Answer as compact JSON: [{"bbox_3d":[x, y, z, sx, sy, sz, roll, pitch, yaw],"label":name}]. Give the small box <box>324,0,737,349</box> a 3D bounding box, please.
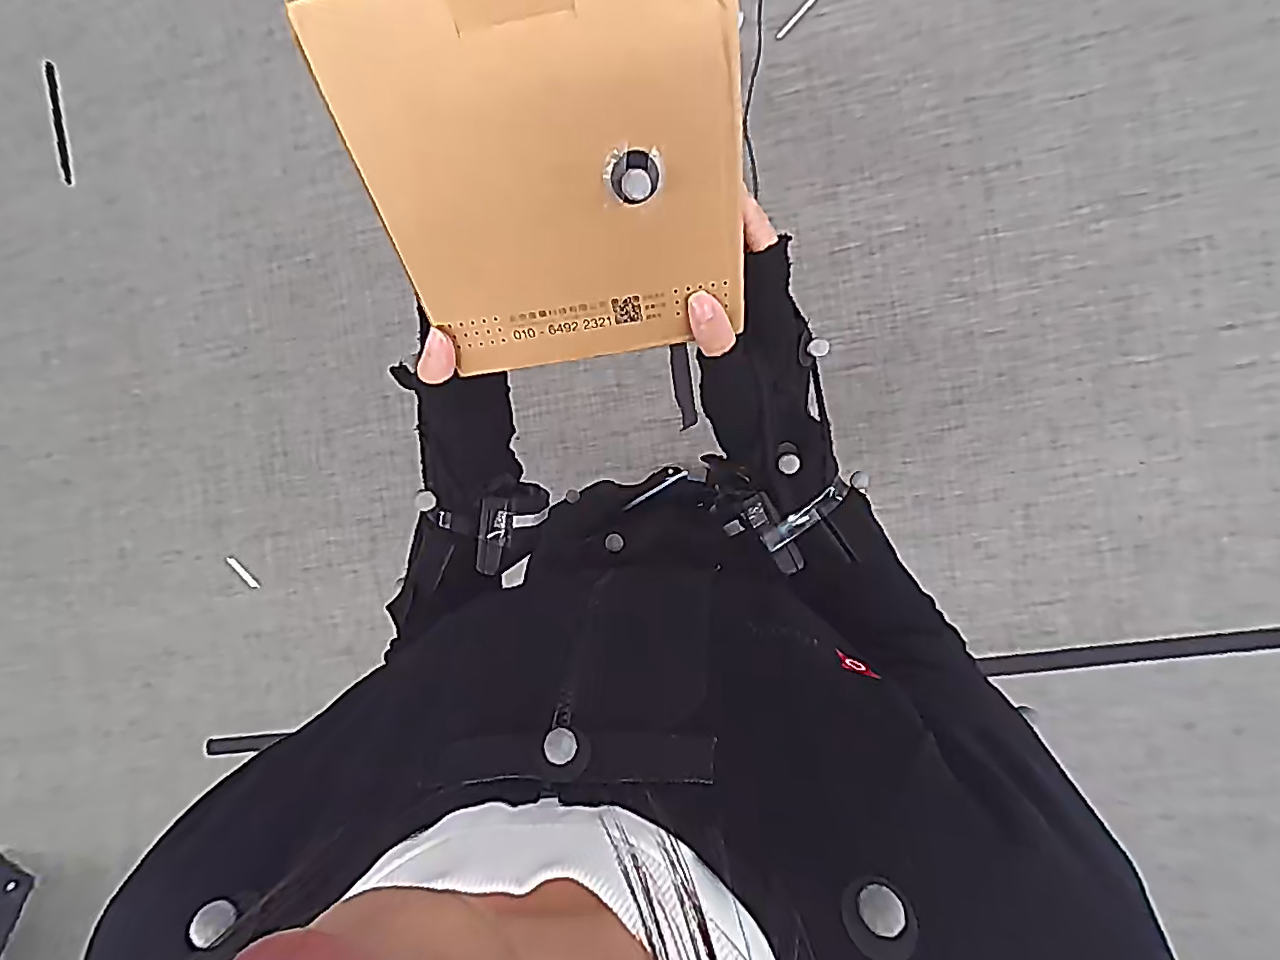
[{"bbox_3d":[-0.036,-0.191,0.321,0.168,0.176,0.179,-7,46,5],"label":"small box"}]
